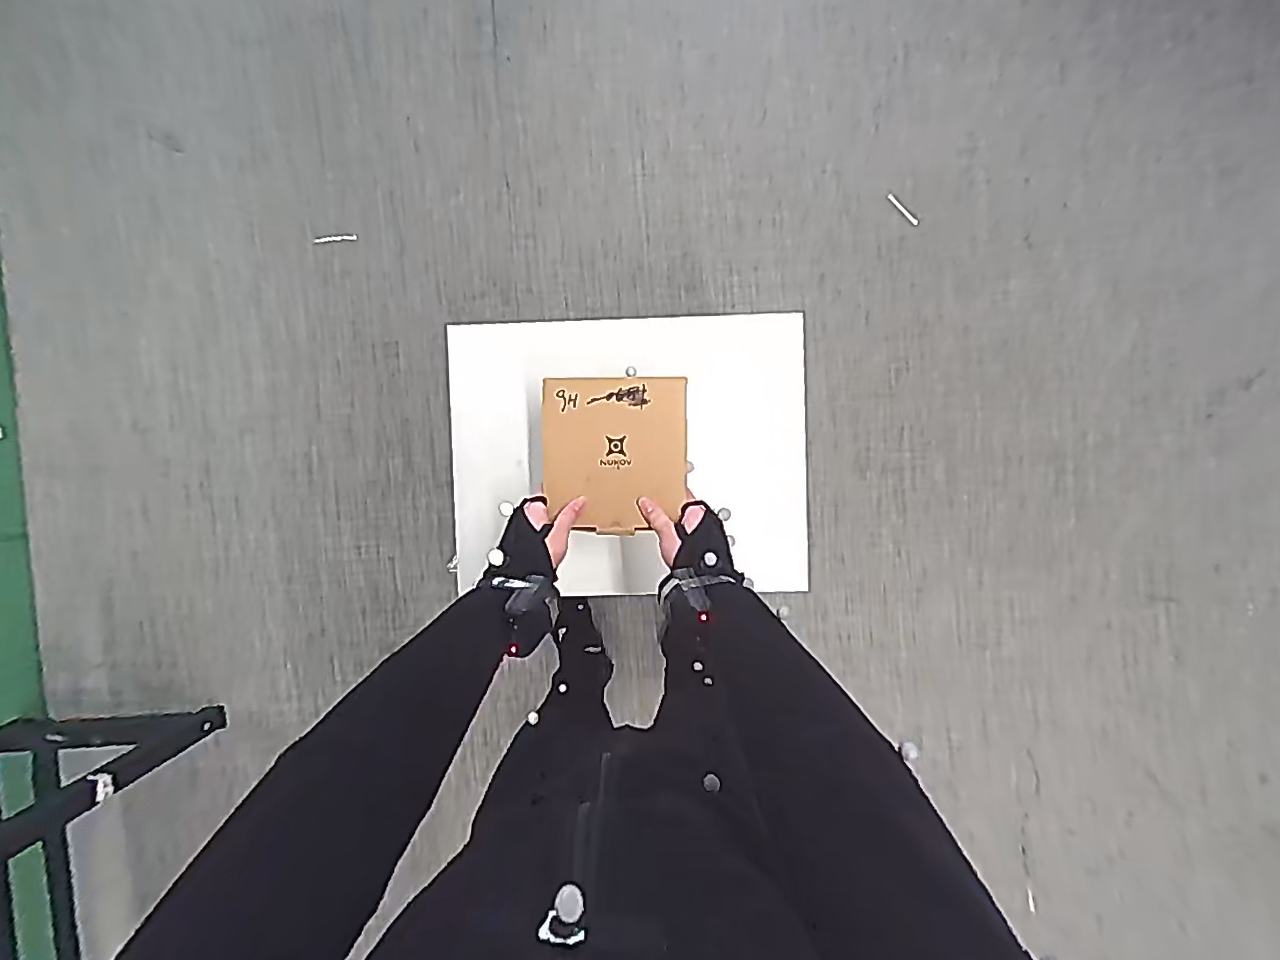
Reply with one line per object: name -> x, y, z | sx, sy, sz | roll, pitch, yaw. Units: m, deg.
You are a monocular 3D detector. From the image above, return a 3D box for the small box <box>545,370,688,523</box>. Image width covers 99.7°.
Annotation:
small box -> -0.023, -0.041, 0.703 | 0.168, 0.176, 0.179 | -2, 91, 2
